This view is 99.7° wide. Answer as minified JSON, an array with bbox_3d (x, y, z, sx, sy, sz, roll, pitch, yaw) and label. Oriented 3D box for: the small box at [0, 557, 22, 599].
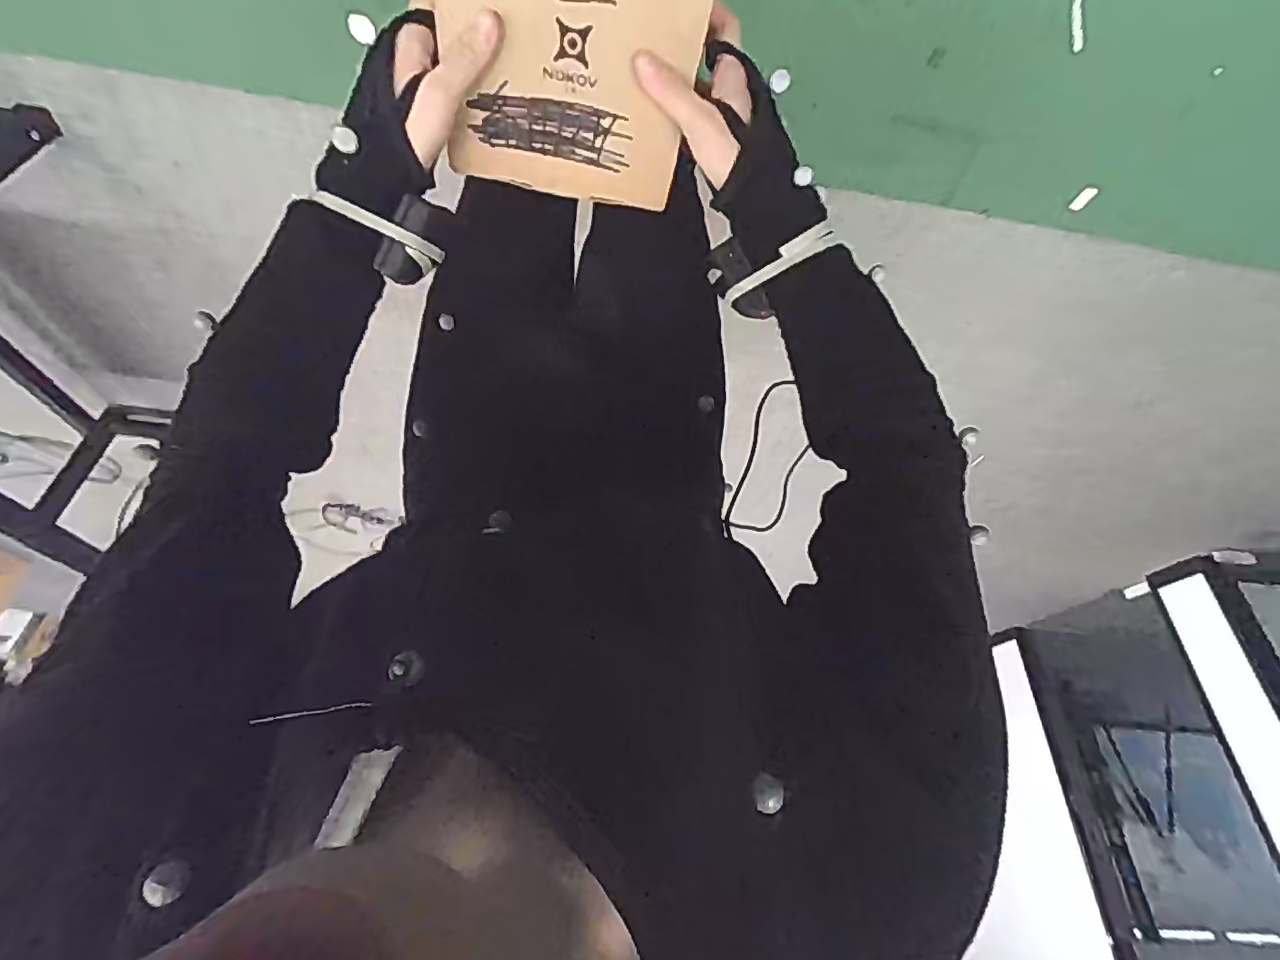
[{"bbox_3d":[-1.555,0.229,1.184,0.179,0.176,0.168,7,149,-5],"label":"small box"}]
